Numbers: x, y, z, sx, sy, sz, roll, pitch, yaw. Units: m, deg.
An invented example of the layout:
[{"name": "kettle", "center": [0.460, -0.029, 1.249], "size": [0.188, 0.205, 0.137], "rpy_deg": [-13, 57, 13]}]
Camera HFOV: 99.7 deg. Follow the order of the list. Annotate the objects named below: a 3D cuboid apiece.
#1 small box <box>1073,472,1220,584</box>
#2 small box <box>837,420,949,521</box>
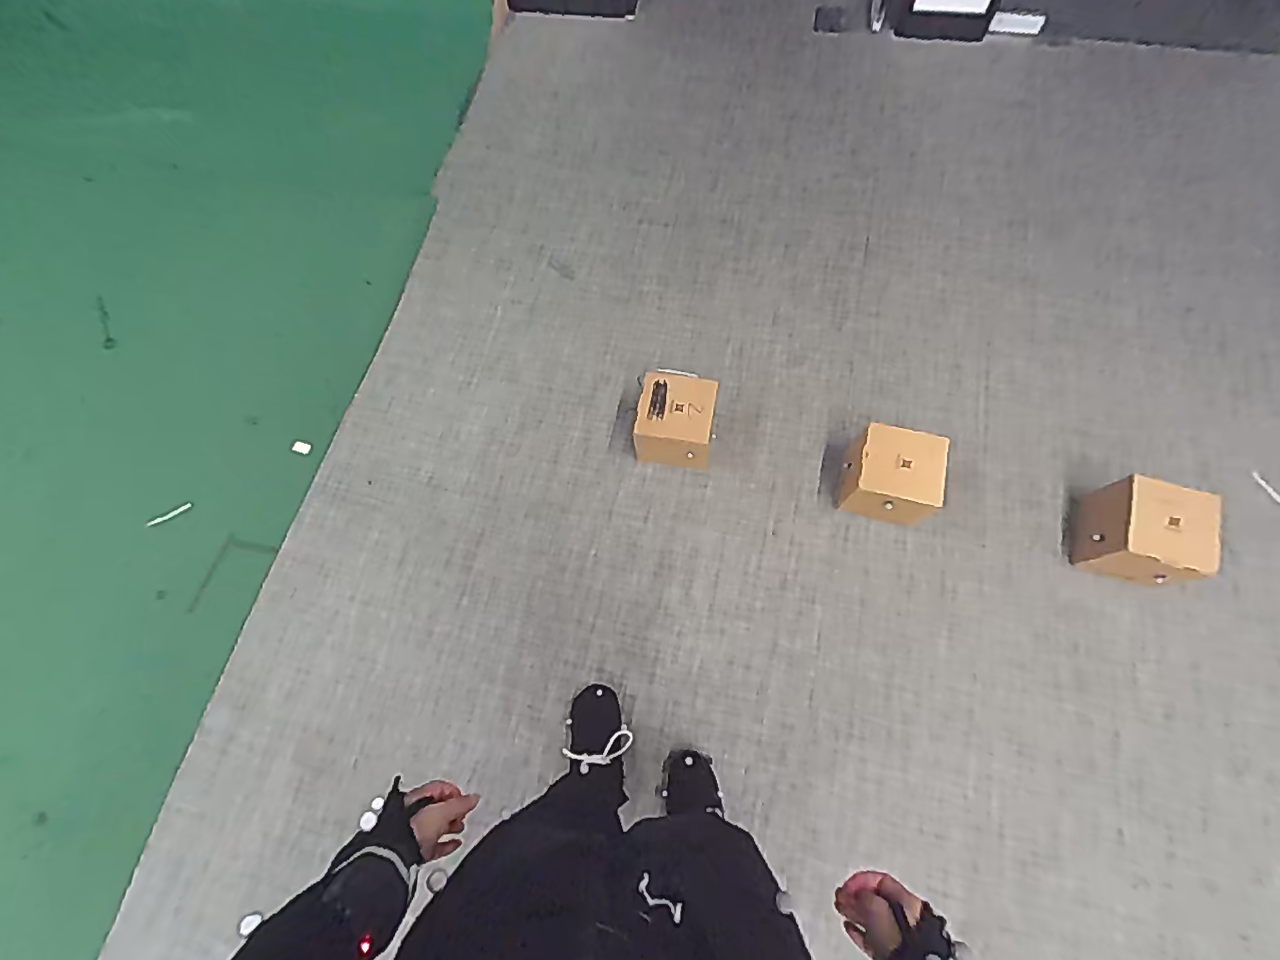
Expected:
[{"name": "small box", "center": [1.077, 0.110, 1.161], "size": [0.168, 0.176, 0.179], "rpy_deg": [18, 72, 9]}, {"name": "small box", "center": [0.575, -0.014, 1.242], "size": [0.179, 0.176, 0.168], "rpy_deg": [13, 72, 9]}]
